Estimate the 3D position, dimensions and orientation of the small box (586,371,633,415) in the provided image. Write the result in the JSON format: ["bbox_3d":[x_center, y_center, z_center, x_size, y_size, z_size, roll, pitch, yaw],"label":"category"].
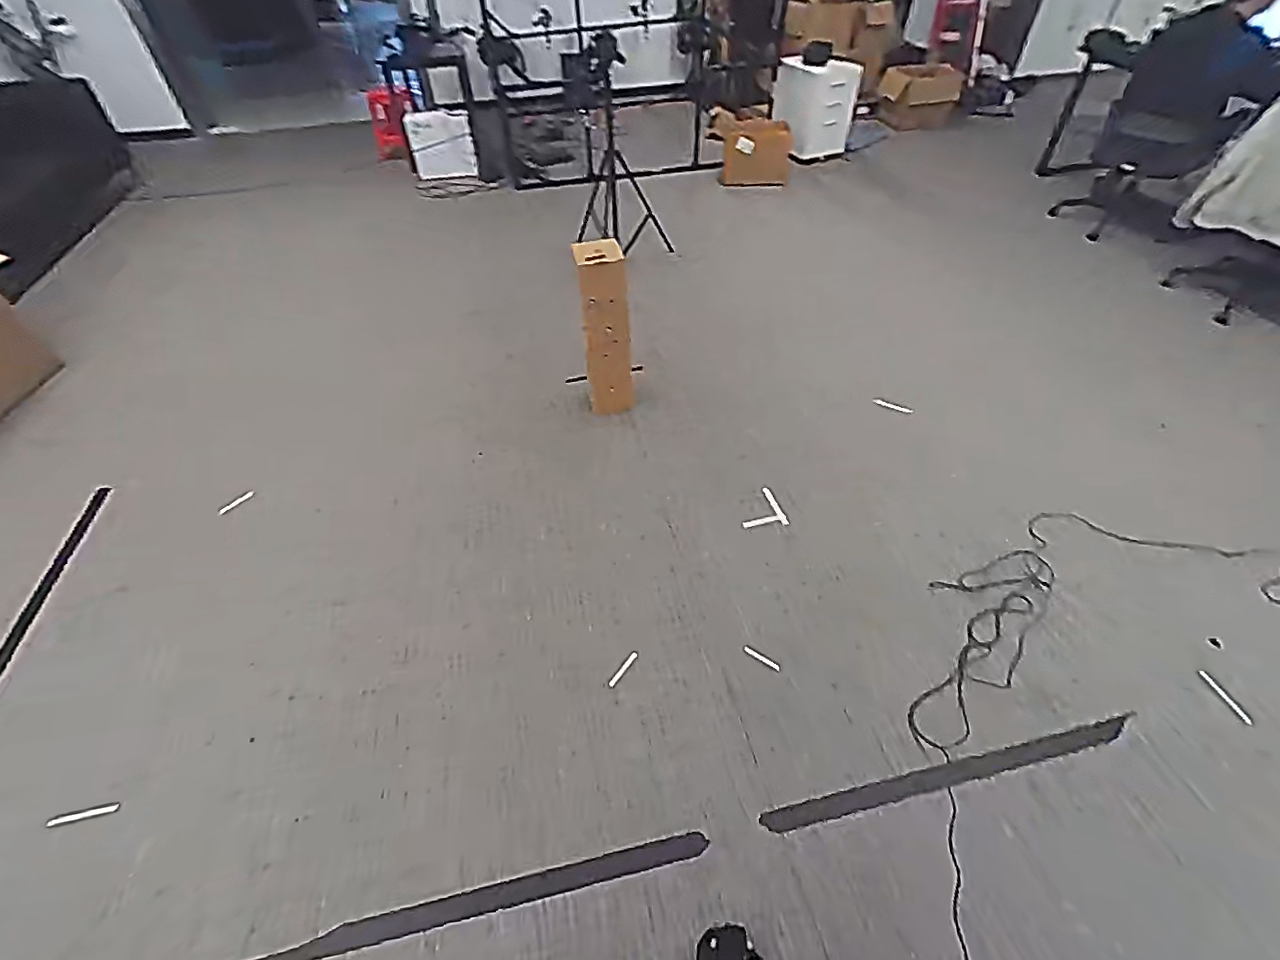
[{"bbox_3d":[-0.131,-0.399,2.298,0.179,0.176,0.168,-11,48,-8],"label":"small box"}]

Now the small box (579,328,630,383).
[{"bbox_3d":[-0.142,-0.506,2.174,0.179,0.176,0.168,-10,49,-6],"label":"small box"}]

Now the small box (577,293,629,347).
[{"bbox_3d":[-0.139,-0.620,2.056,0.168,0.176,0.179,-10,49,-7],"label":"small box"}]

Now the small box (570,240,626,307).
[{"bbox_3d":[-0.148,-0.732,1.936,0.168,0.176,0.179,-11,47,-7],"label":"small box"}]
